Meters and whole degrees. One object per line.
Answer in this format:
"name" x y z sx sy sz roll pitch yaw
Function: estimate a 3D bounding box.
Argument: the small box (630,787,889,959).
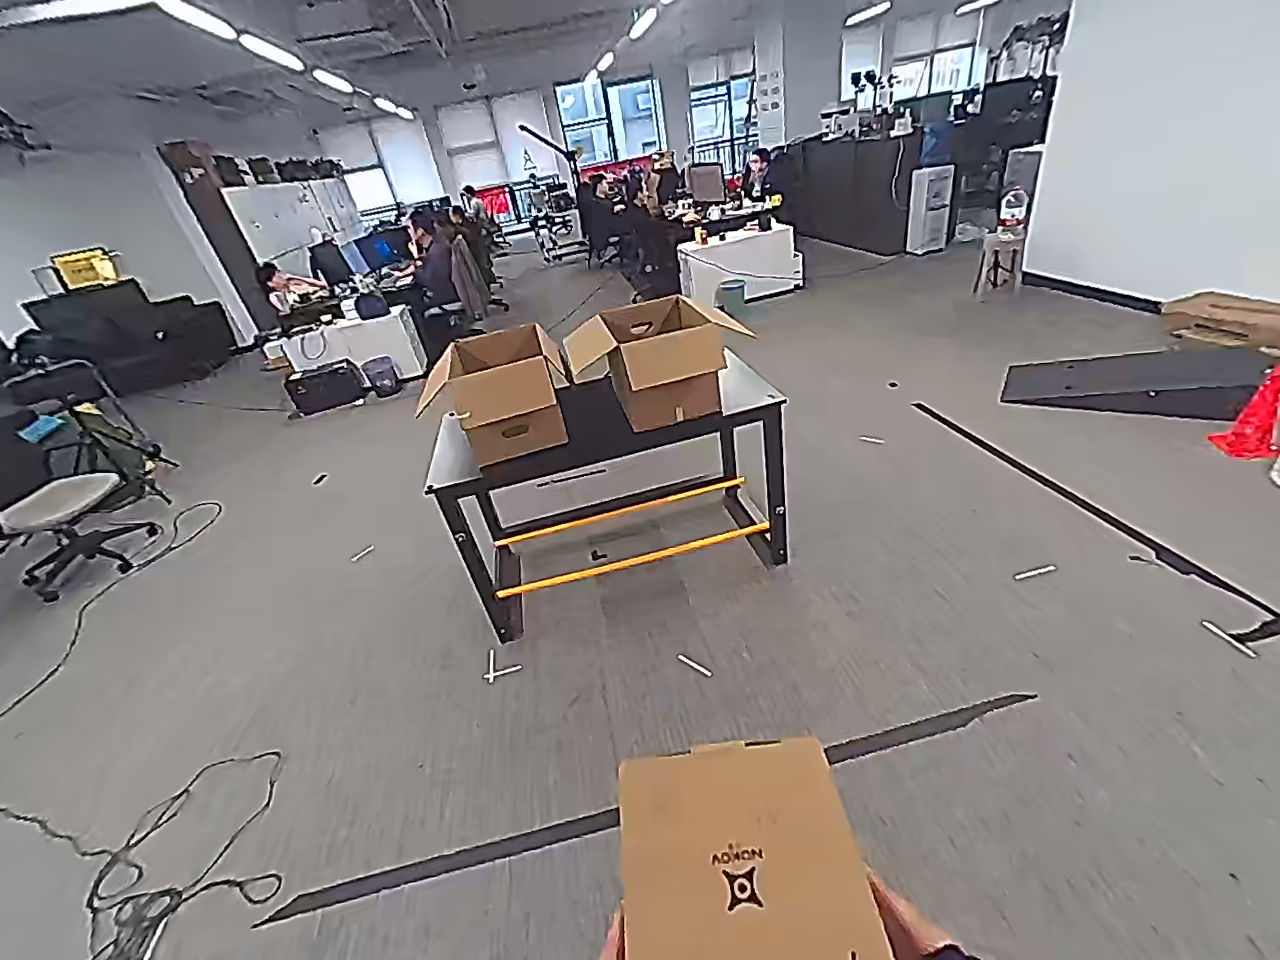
"small box" 0.083 0.365 0.403 0.168 0.176 0.179 -7 36 1
